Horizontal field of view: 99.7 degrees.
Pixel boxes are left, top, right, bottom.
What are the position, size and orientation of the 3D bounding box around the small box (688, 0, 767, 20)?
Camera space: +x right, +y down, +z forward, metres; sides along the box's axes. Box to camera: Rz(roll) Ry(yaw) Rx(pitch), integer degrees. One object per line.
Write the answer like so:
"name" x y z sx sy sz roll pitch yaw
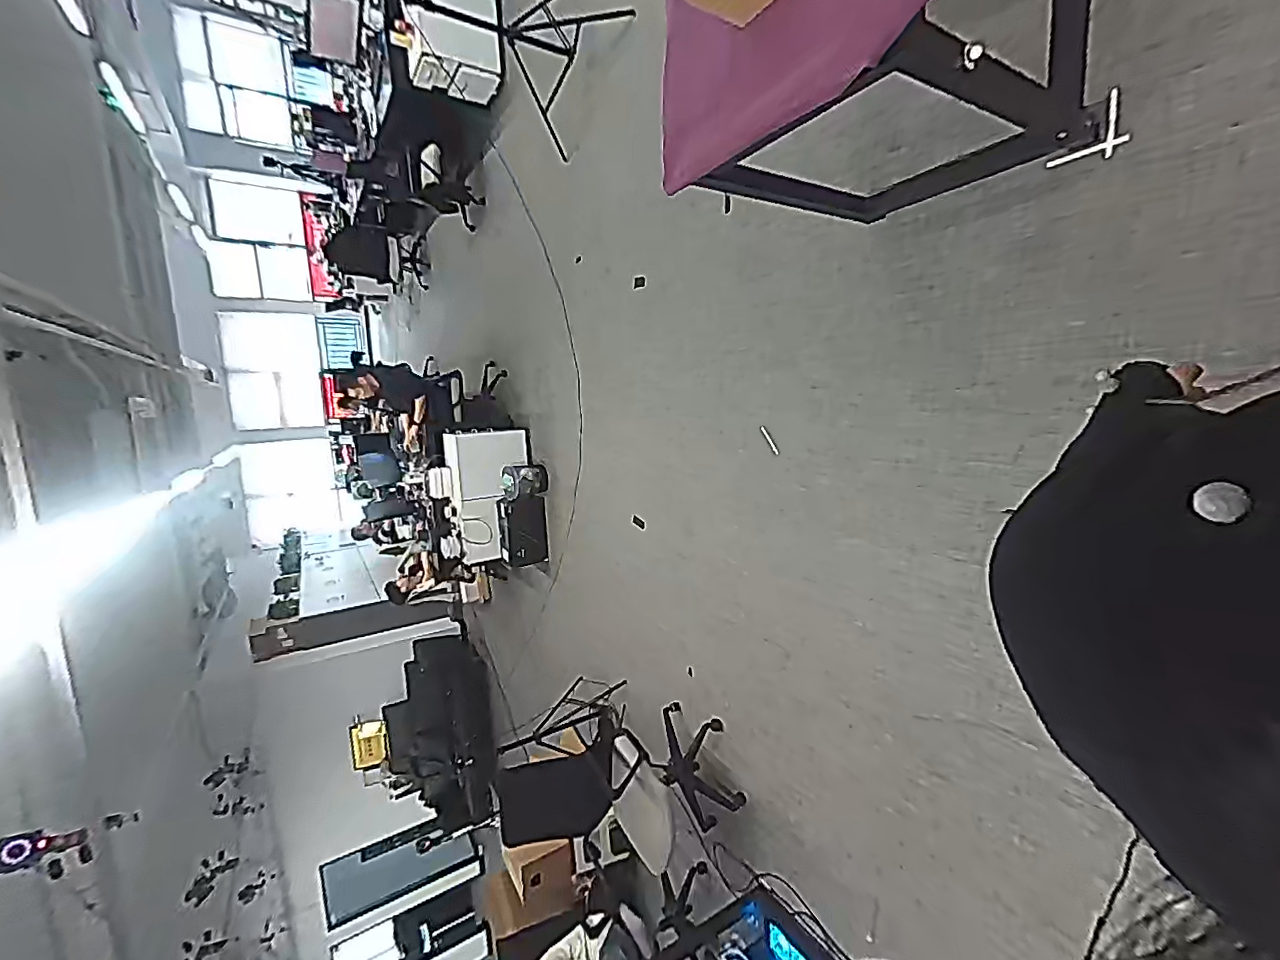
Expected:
"small box" 0.176 -0.961 0.941 0.179 0.176 0.168 12 106 58
